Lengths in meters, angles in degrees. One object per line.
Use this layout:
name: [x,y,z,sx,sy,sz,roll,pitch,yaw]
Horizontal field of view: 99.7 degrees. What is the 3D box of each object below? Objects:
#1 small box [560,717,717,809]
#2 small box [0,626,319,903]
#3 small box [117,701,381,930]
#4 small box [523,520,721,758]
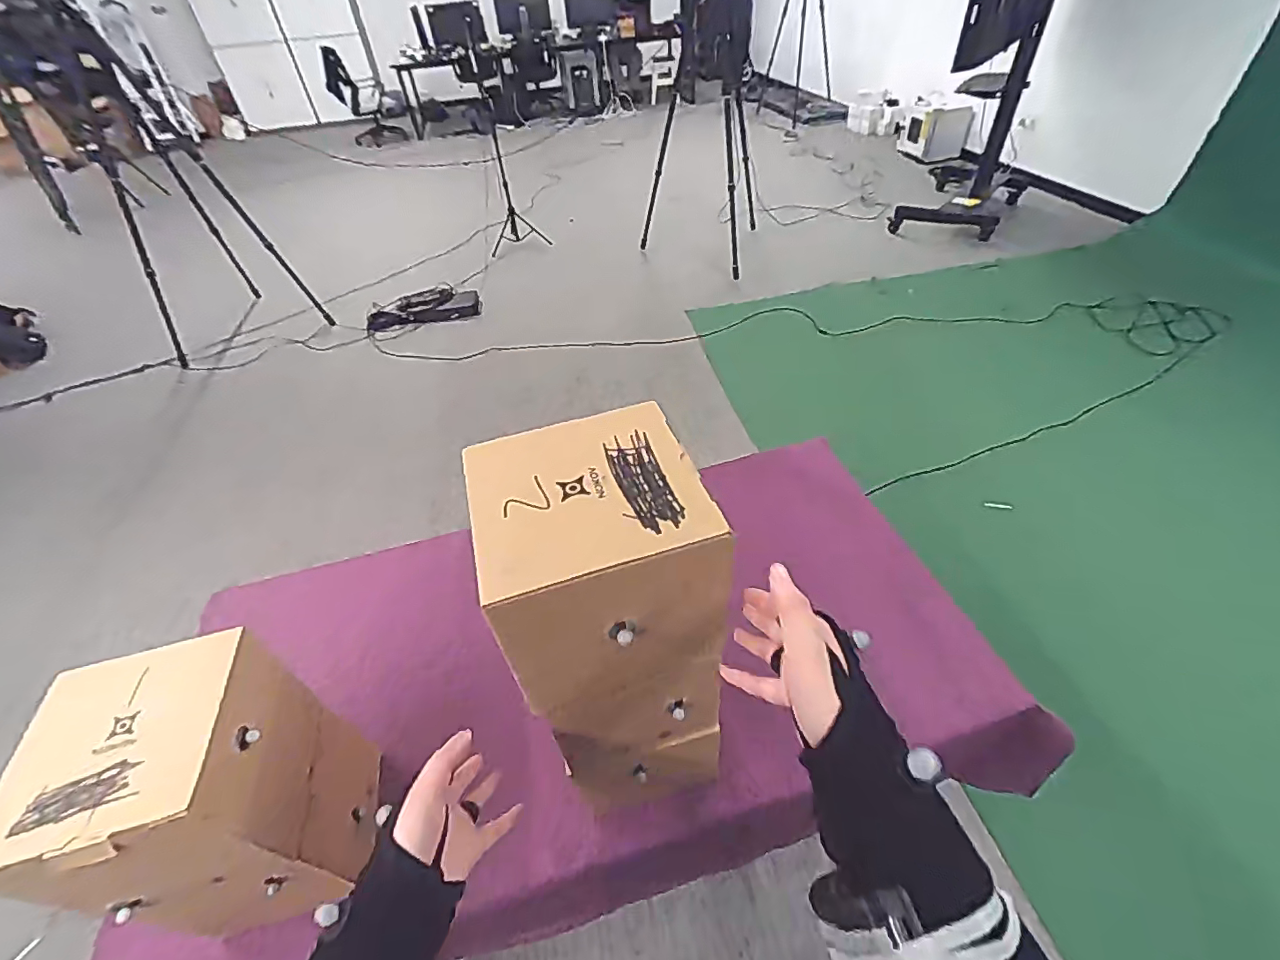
small box: [-0.008,0.297,0.698,0.179,0.176,0.168,-12,46,-7]
small box: [-0.443,0.279,0.526,0.168,0.176,0.179,-13,43,-9]
small box: [-0.433,0.397,0.639,0.179,0.176,0.168,-13,45,-9]
small box: [-0.020,0.177,0.588,0.168,0.176,0.179,-14,44,-9]
